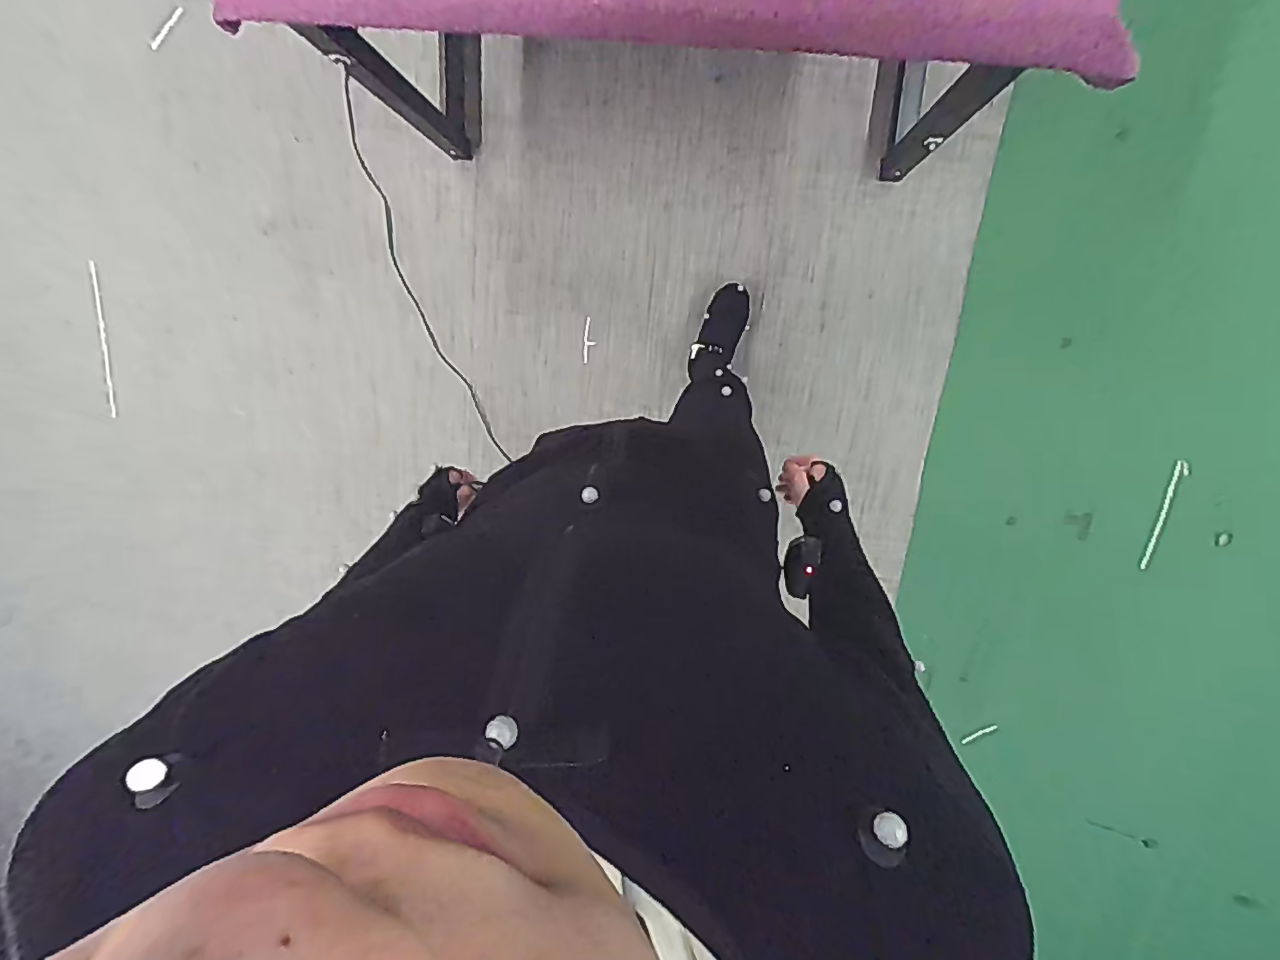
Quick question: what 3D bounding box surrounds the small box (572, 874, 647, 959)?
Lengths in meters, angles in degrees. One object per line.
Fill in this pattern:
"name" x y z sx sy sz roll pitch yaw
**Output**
"small box" -0.077 1.160 1.376 0.168 0.176 0.179 9 104 2
